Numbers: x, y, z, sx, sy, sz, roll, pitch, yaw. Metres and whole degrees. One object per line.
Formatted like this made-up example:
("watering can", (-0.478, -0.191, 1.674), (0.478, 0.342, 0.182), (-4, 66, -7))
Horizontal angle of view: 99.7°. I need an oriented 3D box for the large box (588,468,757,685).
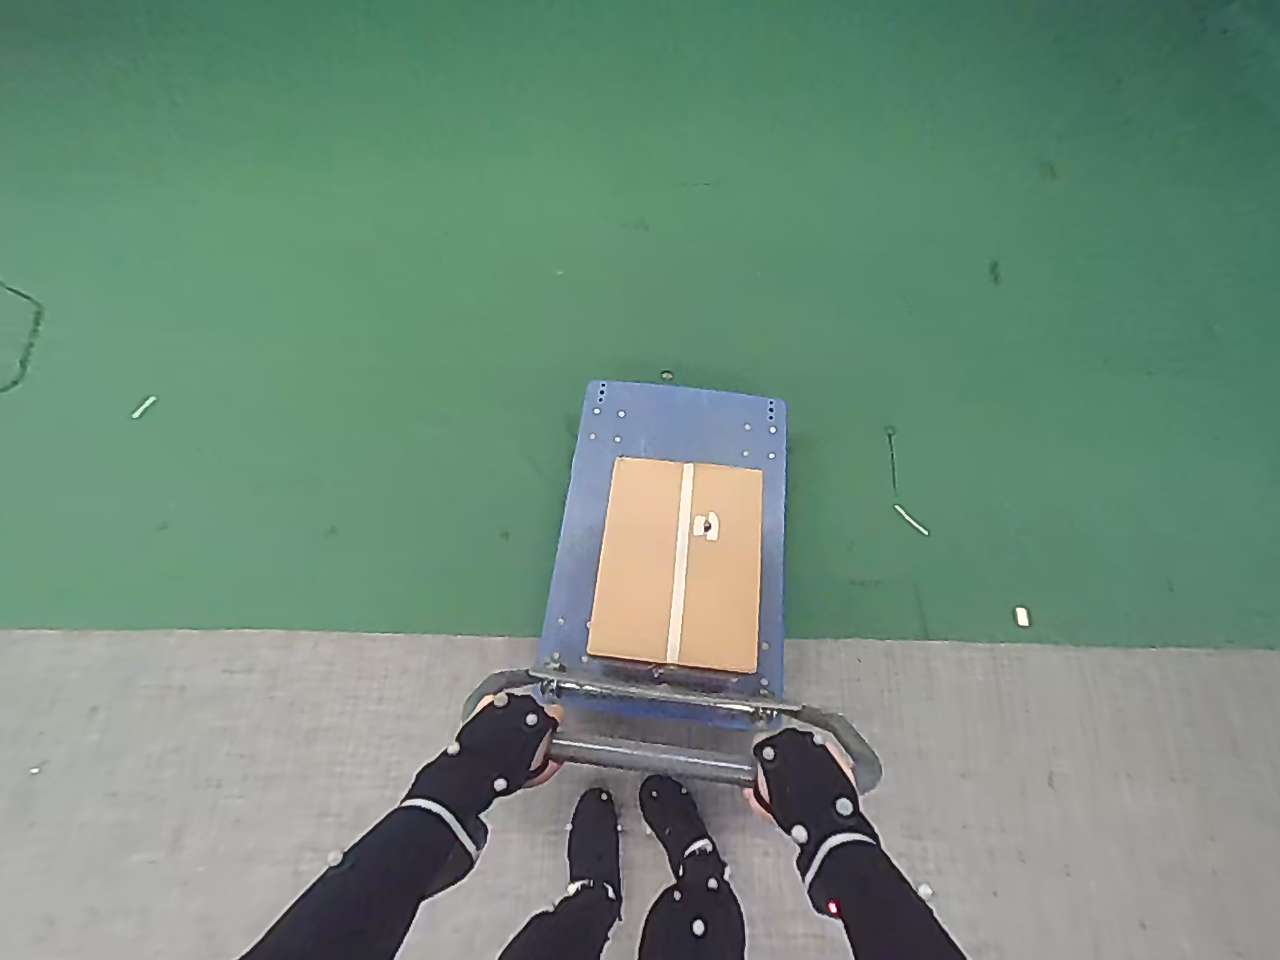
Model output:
("large box", (0.078, 0.228, 1.206), (0.320, 0.320, 0.408), (6, 67, 3))
